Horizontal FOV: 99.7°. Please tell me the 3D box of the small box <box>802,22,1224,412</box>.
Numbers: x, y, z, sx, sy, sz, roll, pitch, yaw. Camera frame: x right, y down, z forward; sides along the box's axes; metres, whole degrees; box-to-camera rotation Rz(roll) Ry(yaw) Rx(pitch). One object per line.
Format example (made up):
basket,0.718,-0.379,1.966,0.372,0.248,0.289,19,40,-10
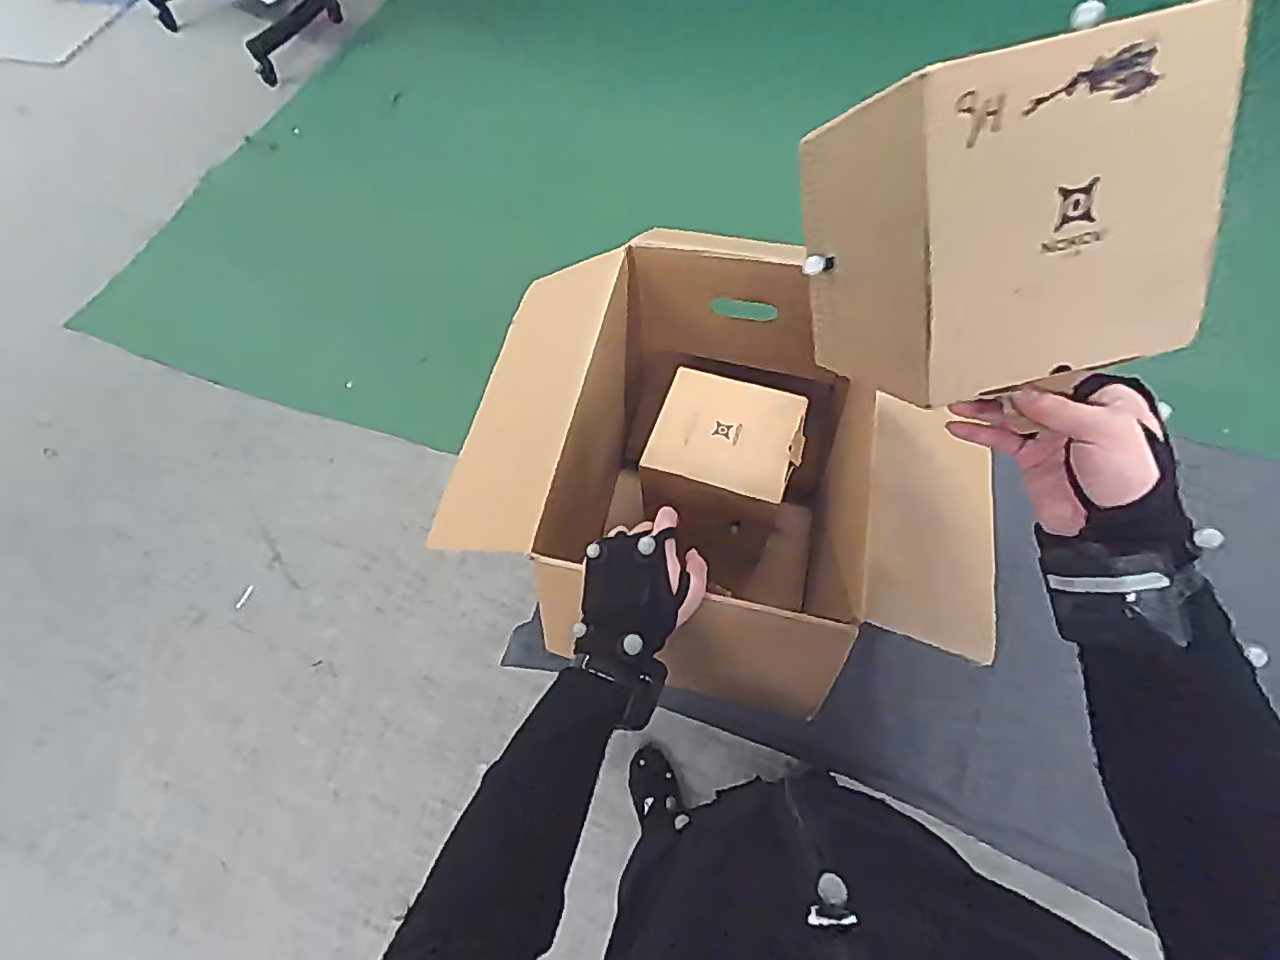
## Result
small box,0.228,-0.167,0.381,0.168,0.179,0.176,-14,22,0
